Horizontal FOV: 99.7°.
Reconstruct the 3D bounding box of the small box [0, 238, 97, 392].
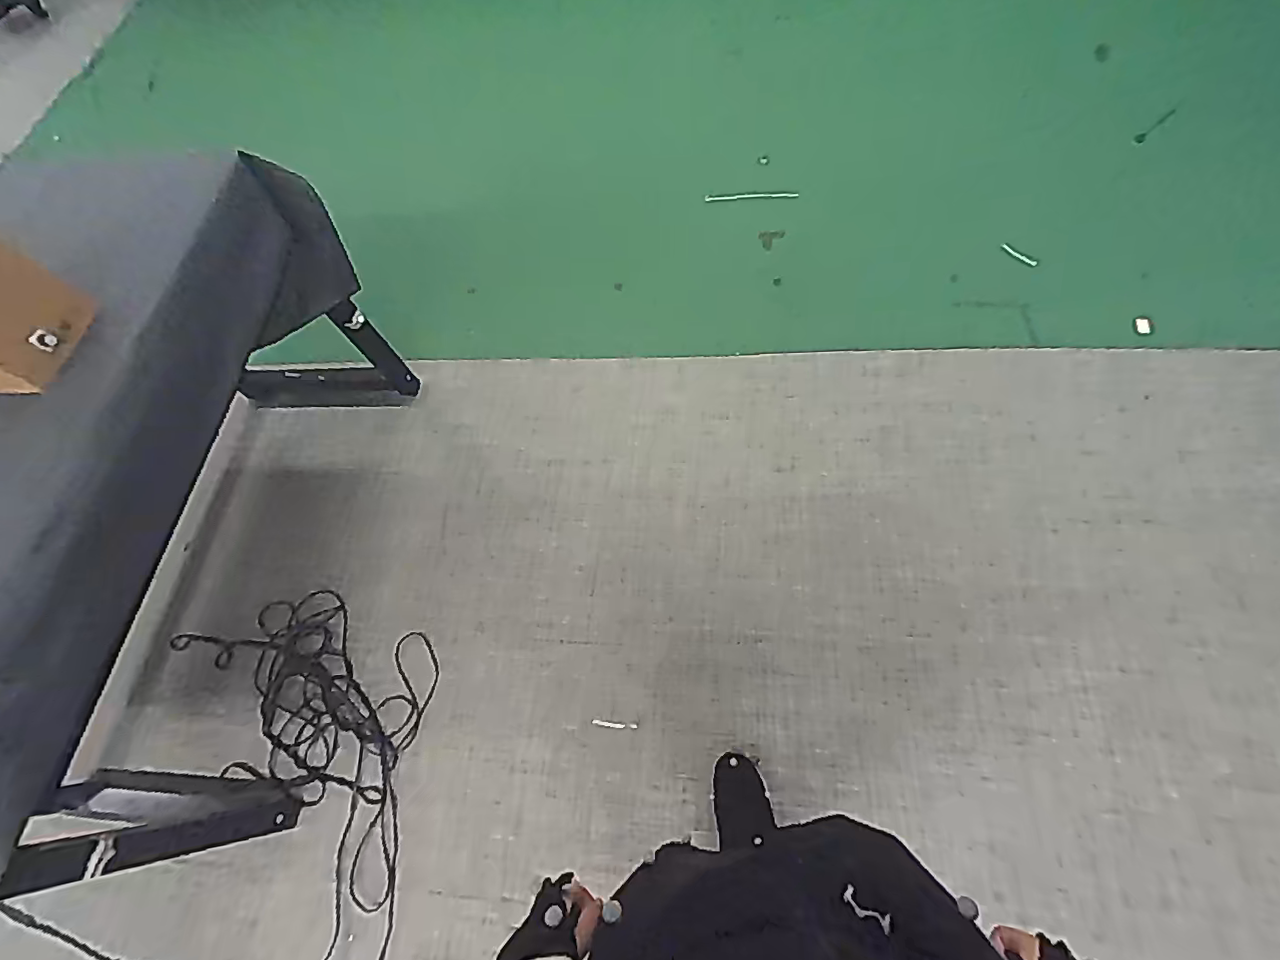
[{"bbox_3d":[-0.964,-0.239,0.773,0.179,0.176,0.168,2,67,8],"label":"small box"}]
